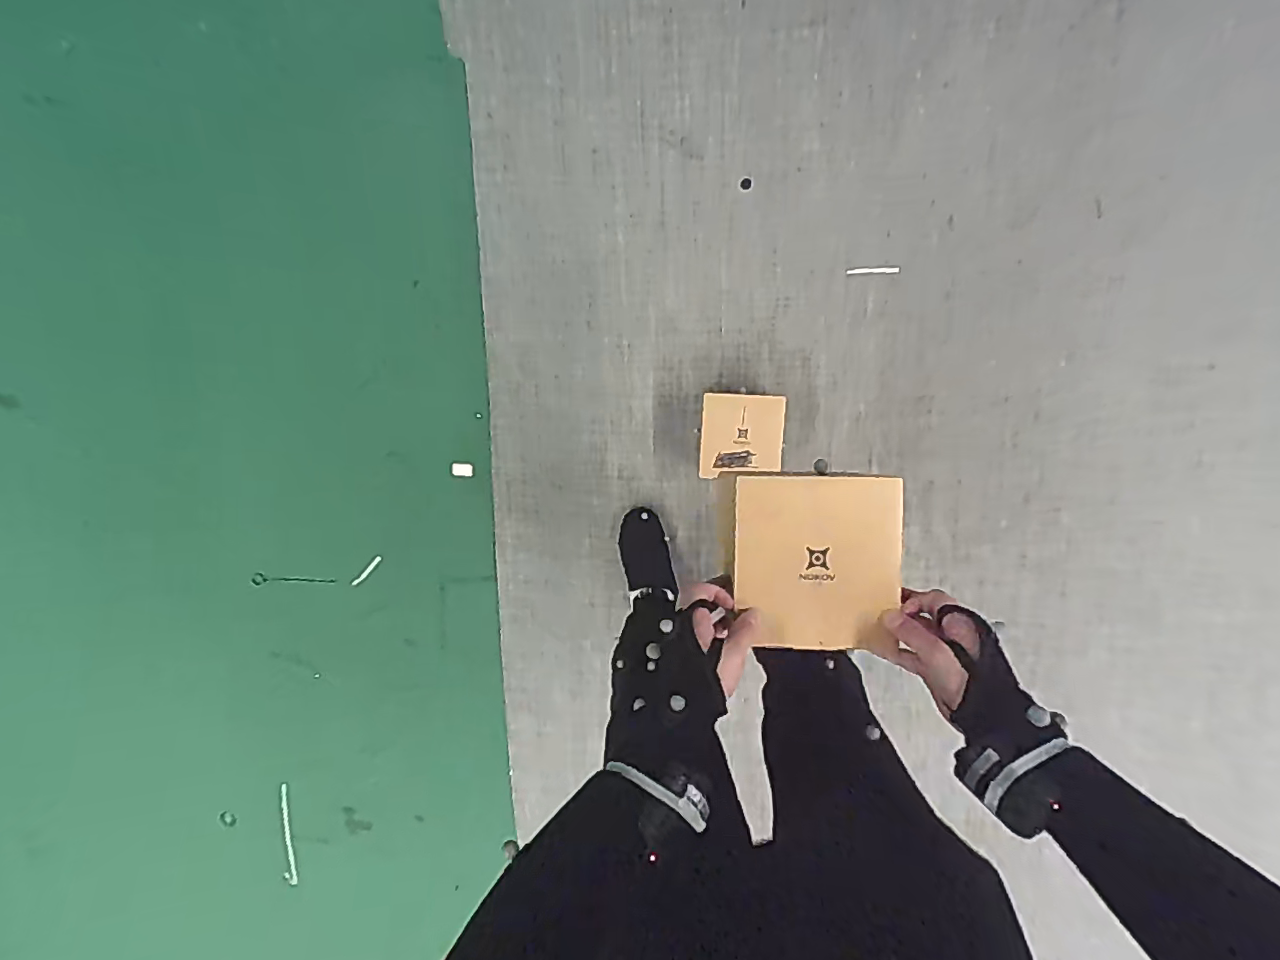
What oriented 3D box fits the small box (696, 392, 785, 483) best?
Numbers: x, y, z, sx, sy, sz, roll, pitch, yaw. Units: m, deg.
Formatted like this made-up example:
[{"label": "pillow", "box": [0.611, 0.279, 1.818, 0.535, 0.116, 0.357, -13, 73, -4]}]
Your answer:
[{"label": "small box", "box": [0.210, -0.097, 1.168, 0.168, 0.176, 0.179, 4, 98, 4]}]
